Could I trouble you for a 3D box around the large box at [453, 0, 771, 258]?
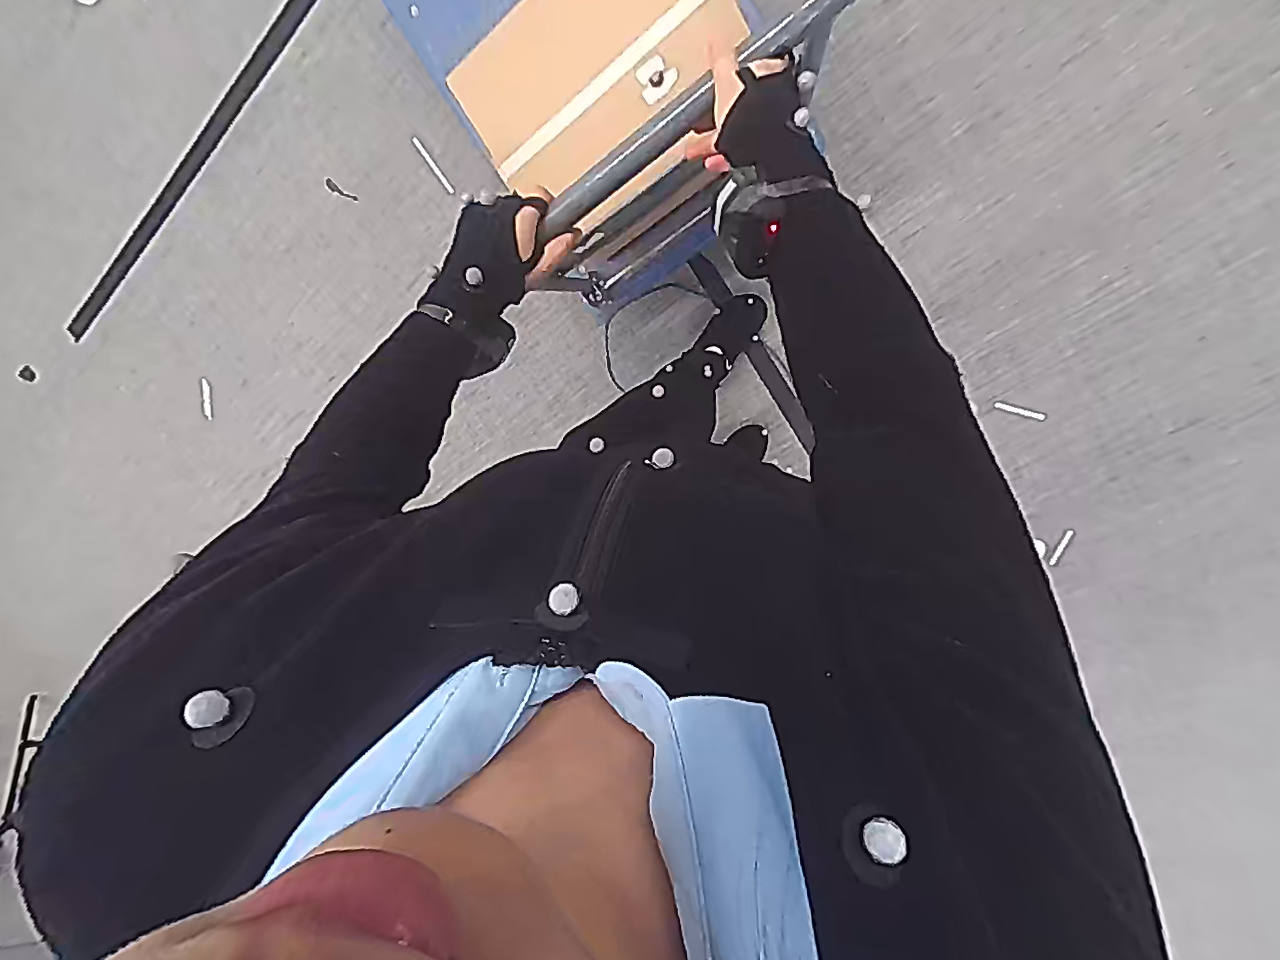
[{"bbox_3d":[-0.030,-0.648,0.946,0.408,0.320,0.320,-30,103,19],"label":"large box"}]
